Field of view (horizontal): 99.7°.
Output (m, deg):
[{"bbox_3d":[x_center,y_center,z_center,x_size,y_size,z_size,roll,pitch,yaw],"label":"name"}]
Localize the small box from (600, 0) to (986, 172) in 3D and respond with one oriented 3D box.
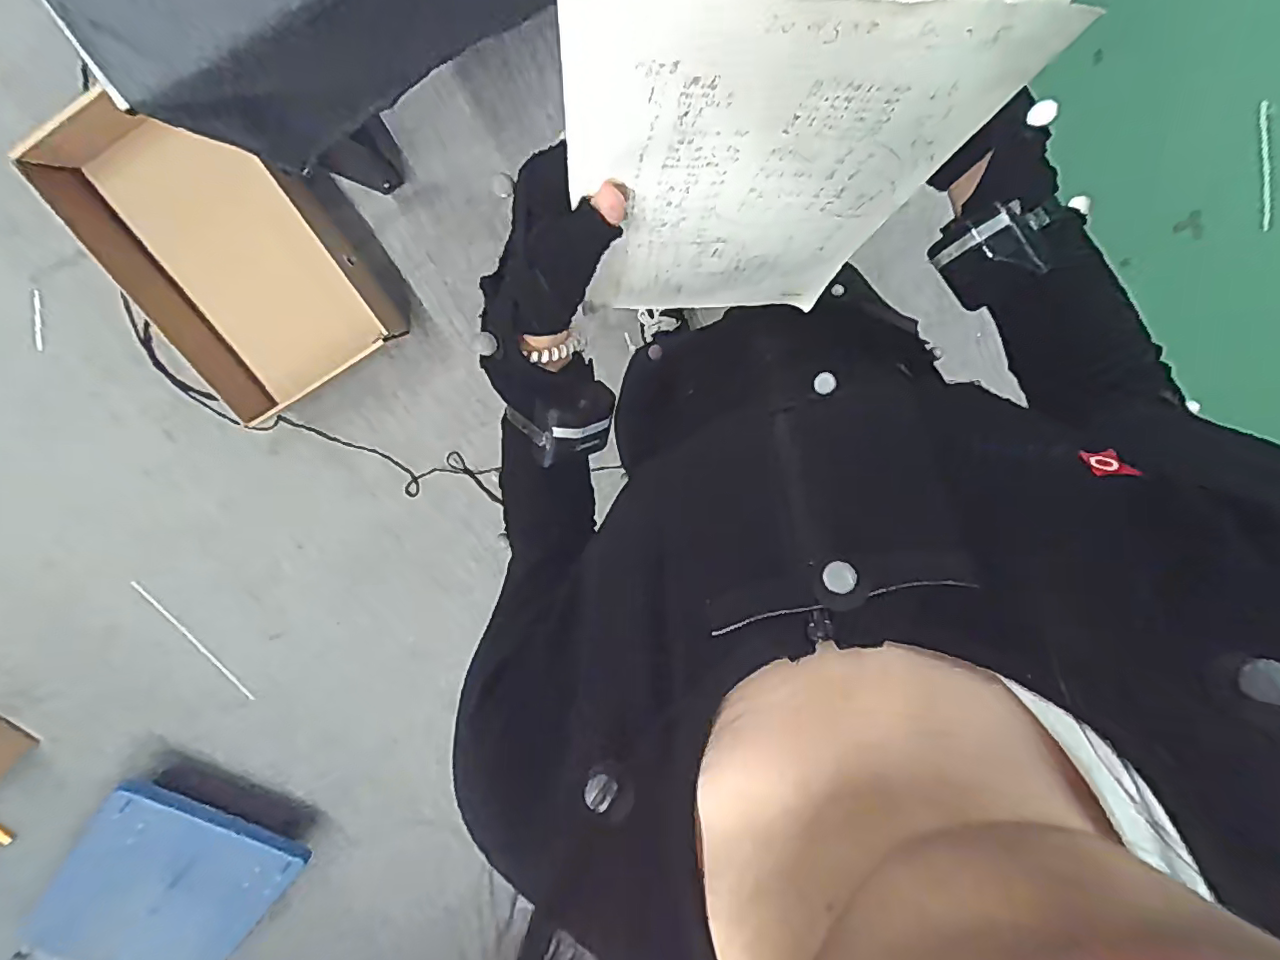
[{"bbox_3d":[0.069,-0.291,0.314,0.179,0.176,0.168,-13,118,3],"label":"small box"}]
